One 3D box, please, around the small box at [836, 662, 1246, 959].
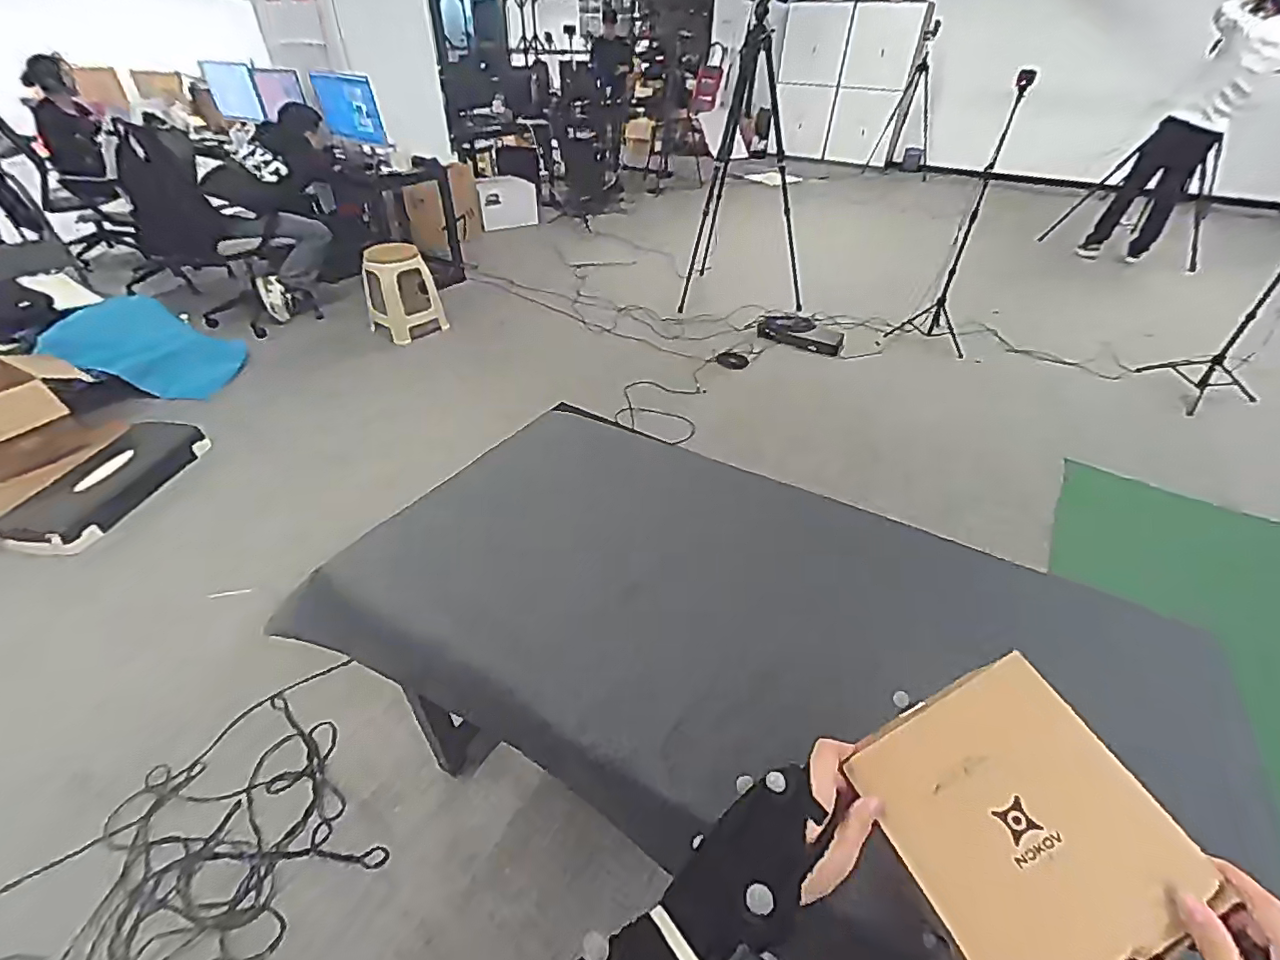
[{"bbox_3d":[0.284,0.278,0.439,0.168,0.176,0.179,-32,59,-4],"label":"small box"}]
